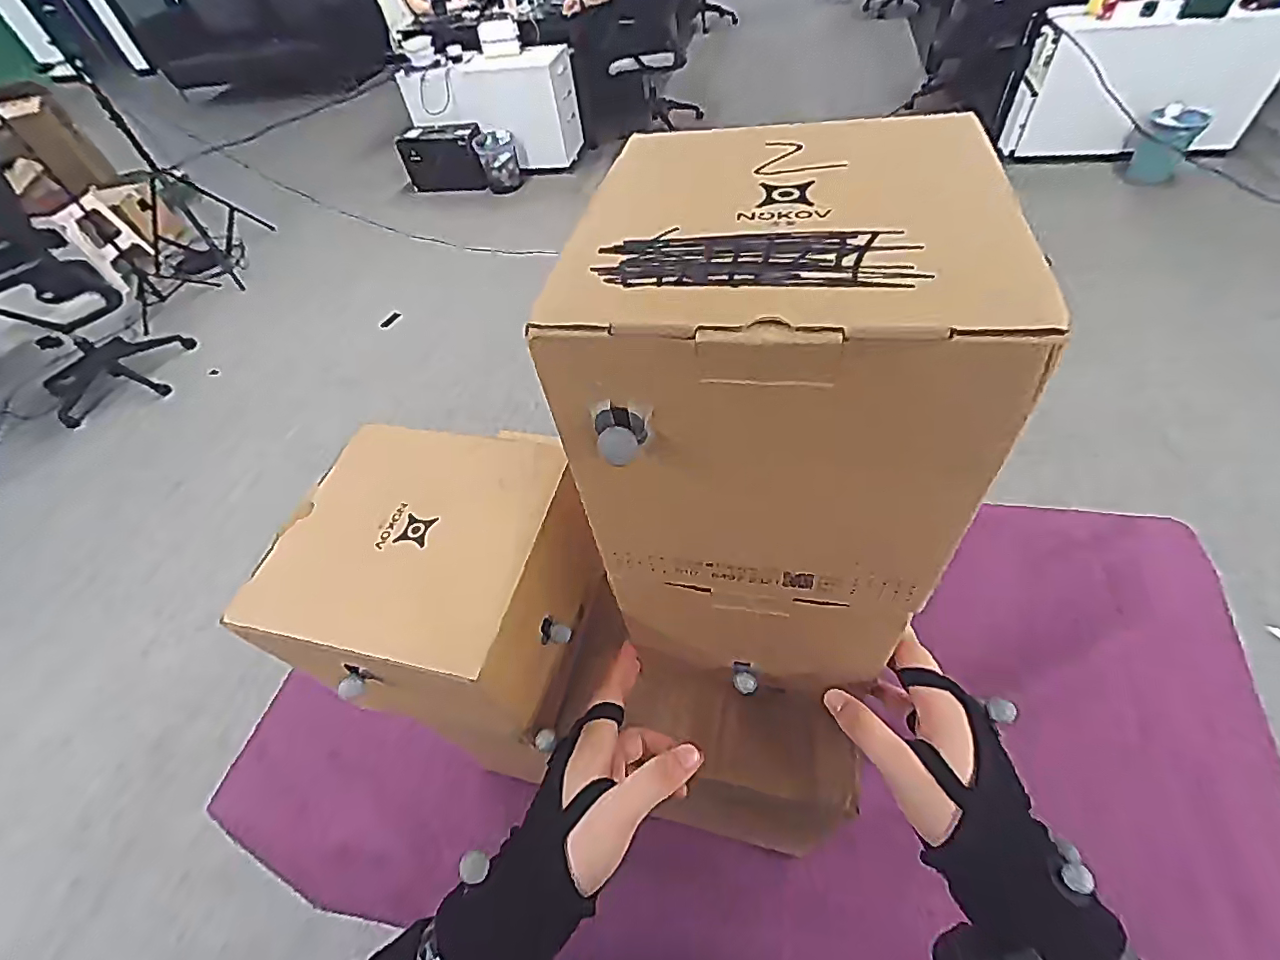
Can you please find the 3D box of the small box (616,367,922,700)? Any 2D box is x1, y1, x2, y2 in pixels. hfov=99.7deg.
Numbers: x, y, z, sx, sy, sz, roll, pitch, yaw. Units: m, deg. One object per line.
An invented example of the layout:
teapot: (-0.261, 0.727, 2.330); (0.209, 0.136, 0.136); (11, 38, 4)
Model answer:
small box: (0.092, 0.038, 0.402); (0.168, 0.176, 0.179); (4, 52, 14)

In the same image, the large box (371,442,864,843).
large box: (0.012, 0.181, 0.618); (0.408, 0.320, 0.320); (5, 51, 14)
